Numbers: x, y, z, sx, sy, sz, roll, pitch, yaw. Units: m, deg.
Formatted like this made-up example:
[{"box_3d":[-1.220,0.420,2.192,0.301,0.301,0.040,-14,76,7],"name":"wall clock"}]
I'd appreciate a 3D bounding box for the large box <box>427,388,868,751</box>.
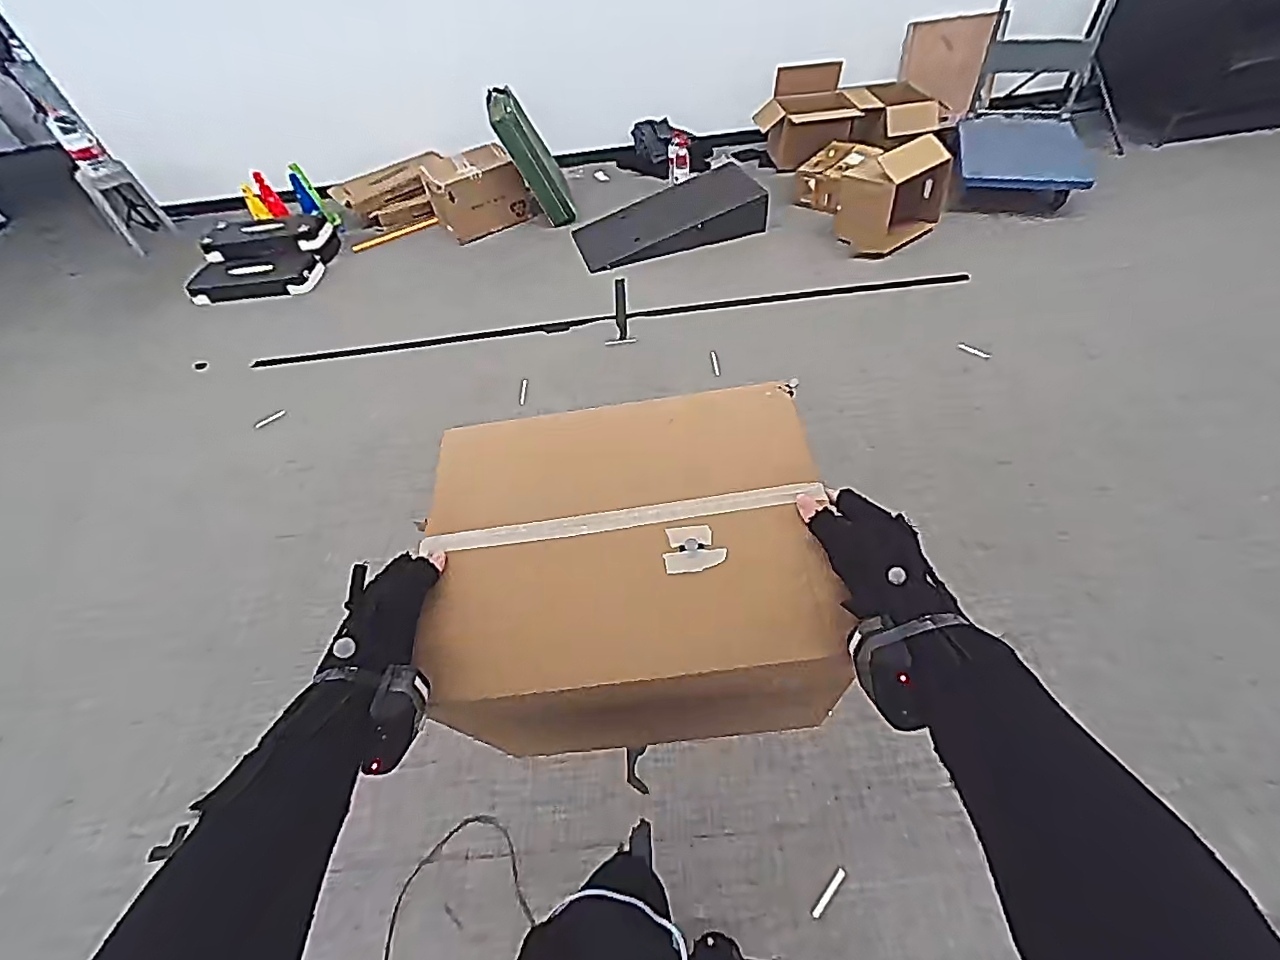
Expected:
[{"box_3d":[0.005,0.126,0.680,0.408,0.320,0.320,-8,55,2],"name":"large box"}]
